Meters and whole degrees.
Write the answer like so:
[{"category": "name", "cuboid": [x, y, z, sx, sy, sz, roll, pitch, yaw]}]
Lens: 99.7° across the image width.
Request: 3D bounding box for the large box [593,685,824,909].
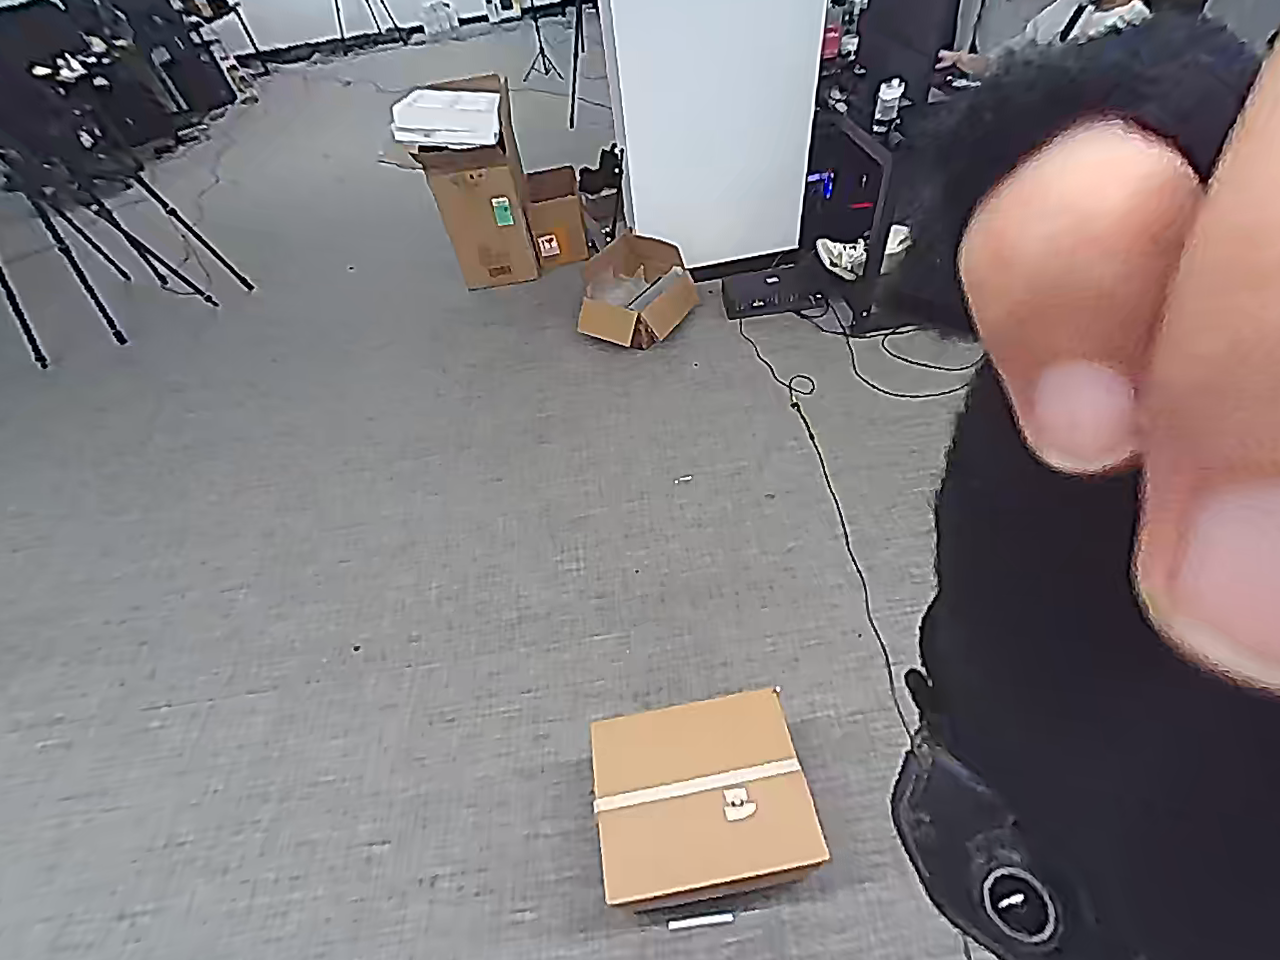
[{"category": "large box", "cuboid": [0.131, 0.694, 1.179, 0.408, 0.320, 0.320, -11, 49, -2]}]
